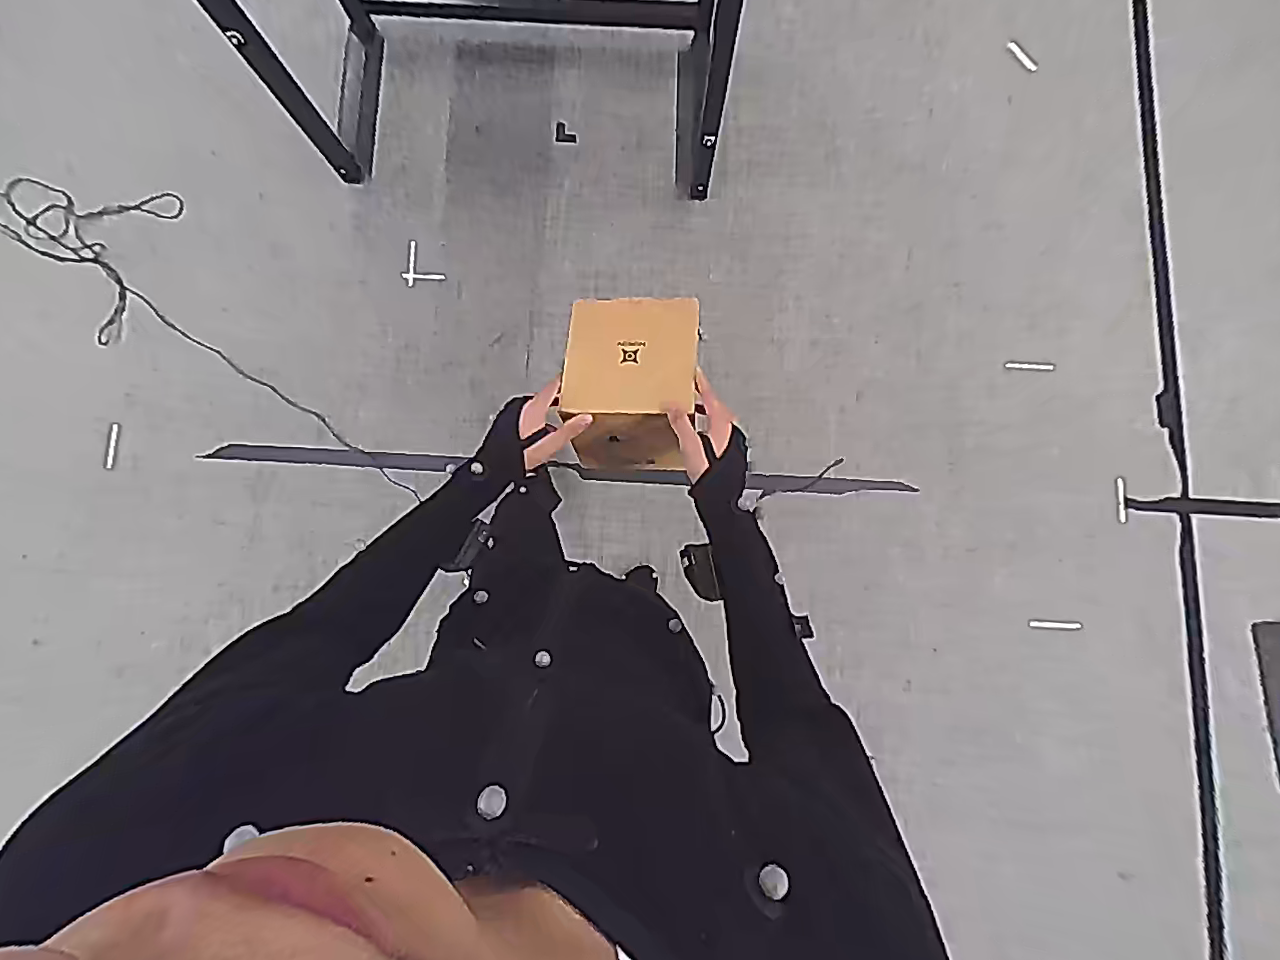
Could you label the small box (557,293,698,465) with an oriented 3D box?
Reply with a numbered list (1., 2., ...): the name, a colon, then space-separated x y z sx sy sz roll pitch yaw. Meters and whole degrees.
1. small box: -0.006 -0.129 0.741 0.168 0.176 0.179 1 66 6
